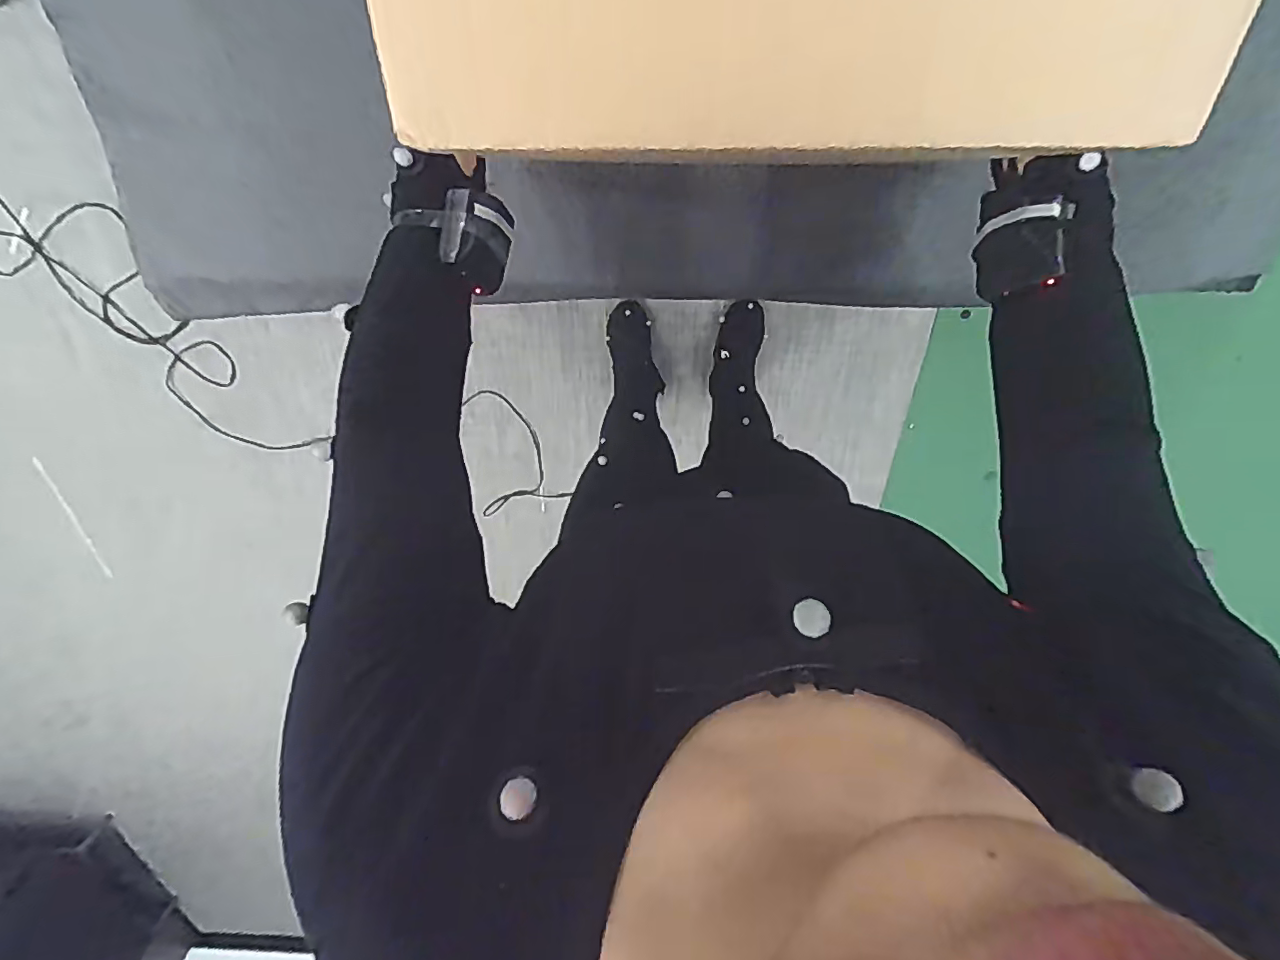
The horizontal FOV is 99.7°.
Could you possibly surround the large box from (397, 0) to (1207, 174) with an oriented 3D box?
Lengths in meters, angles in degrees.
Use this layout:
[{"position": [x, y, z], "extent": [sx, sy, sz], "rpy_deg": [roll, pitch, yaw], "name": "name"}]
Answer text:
[{"position": [0.078, -0.385, 0.353], "extent": [0.408, 0.320, 0.320], "rpy_deg": [1, 120, 2], "name": "large box"}]
